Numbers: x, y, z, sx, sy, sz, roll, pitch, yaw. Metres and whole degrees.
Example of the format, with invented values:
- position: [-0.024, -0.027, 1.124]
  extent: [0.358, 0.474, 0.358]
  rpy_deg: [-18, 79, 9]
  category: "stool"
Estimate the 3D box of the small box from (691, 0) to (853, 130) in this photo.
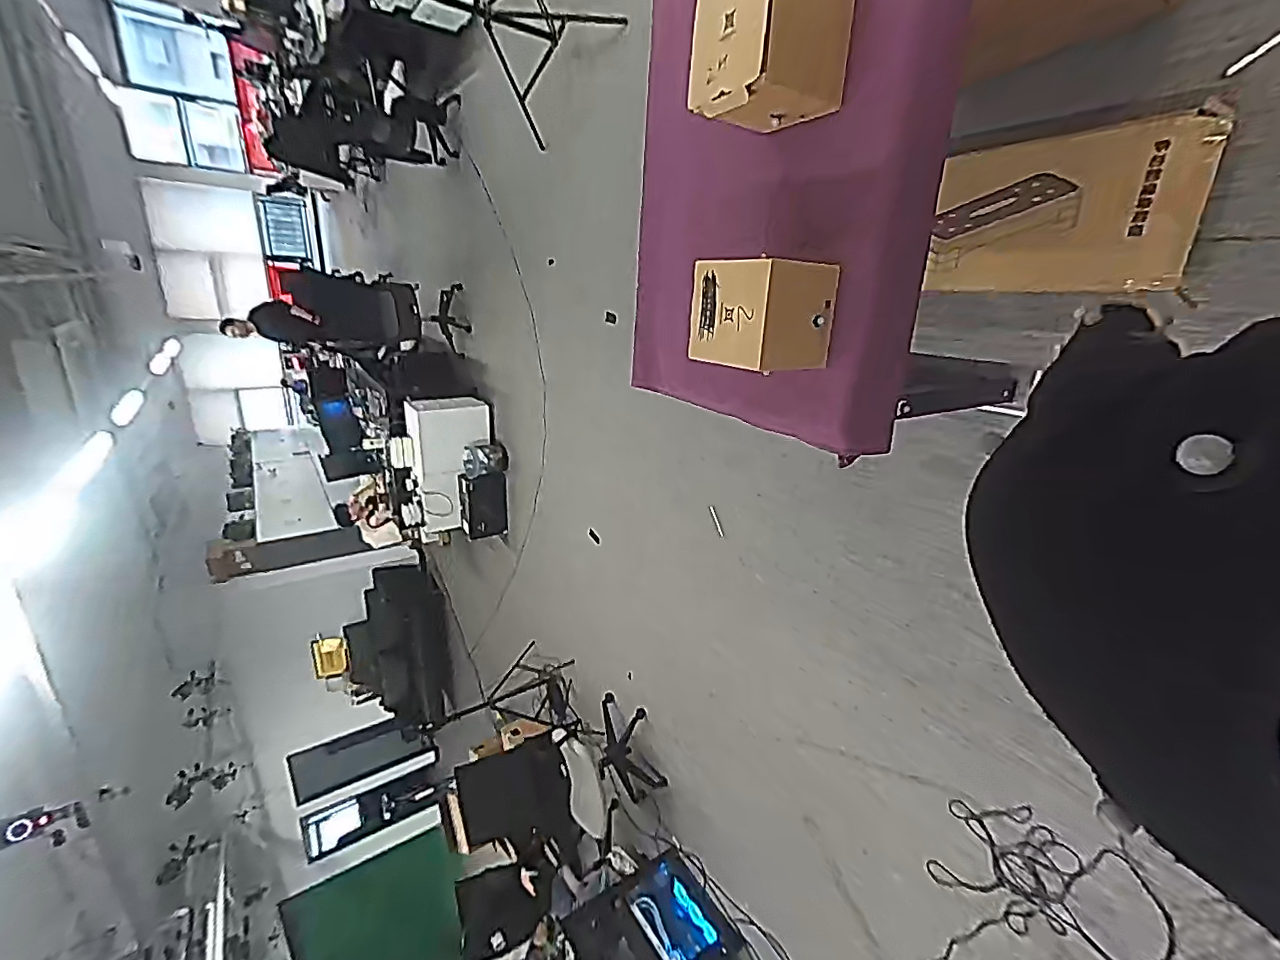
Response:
- position: [0.199, -0.663, 0.821]
  extent: [0.168, 0.176, 0.179]
  rpy_deg: [29, 122, 53]
  category: "small box"
